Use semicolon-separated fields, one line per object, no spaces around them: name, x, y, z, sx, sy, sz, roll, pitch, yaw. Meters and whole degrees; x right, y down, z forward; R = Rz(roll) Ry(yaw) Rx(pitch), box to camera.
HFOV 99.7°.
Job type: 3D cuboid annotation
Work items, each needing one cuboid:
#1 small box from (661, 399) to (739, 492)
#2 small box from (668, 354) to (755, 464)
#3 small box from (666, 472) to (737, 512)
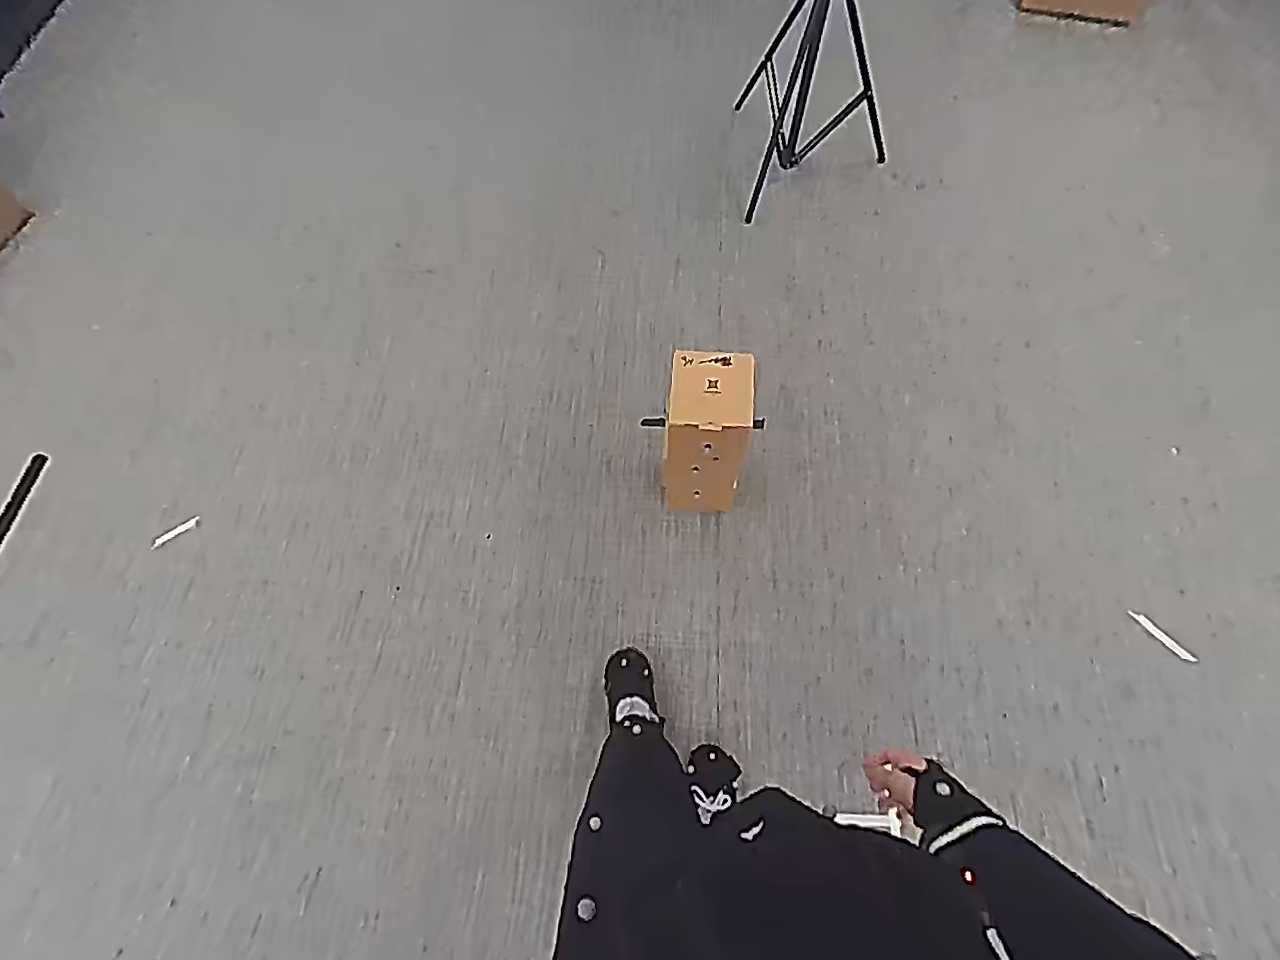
small box;0.147;-0.079;1.297;0.179;0.176;0.168;5;68;5
small box;0.149;-0.145;1.146;0.168;0.176;0.179;4;68;5
small box;0.161;-0.018;1.449;0.179;0.176;0.168;3;68;4
